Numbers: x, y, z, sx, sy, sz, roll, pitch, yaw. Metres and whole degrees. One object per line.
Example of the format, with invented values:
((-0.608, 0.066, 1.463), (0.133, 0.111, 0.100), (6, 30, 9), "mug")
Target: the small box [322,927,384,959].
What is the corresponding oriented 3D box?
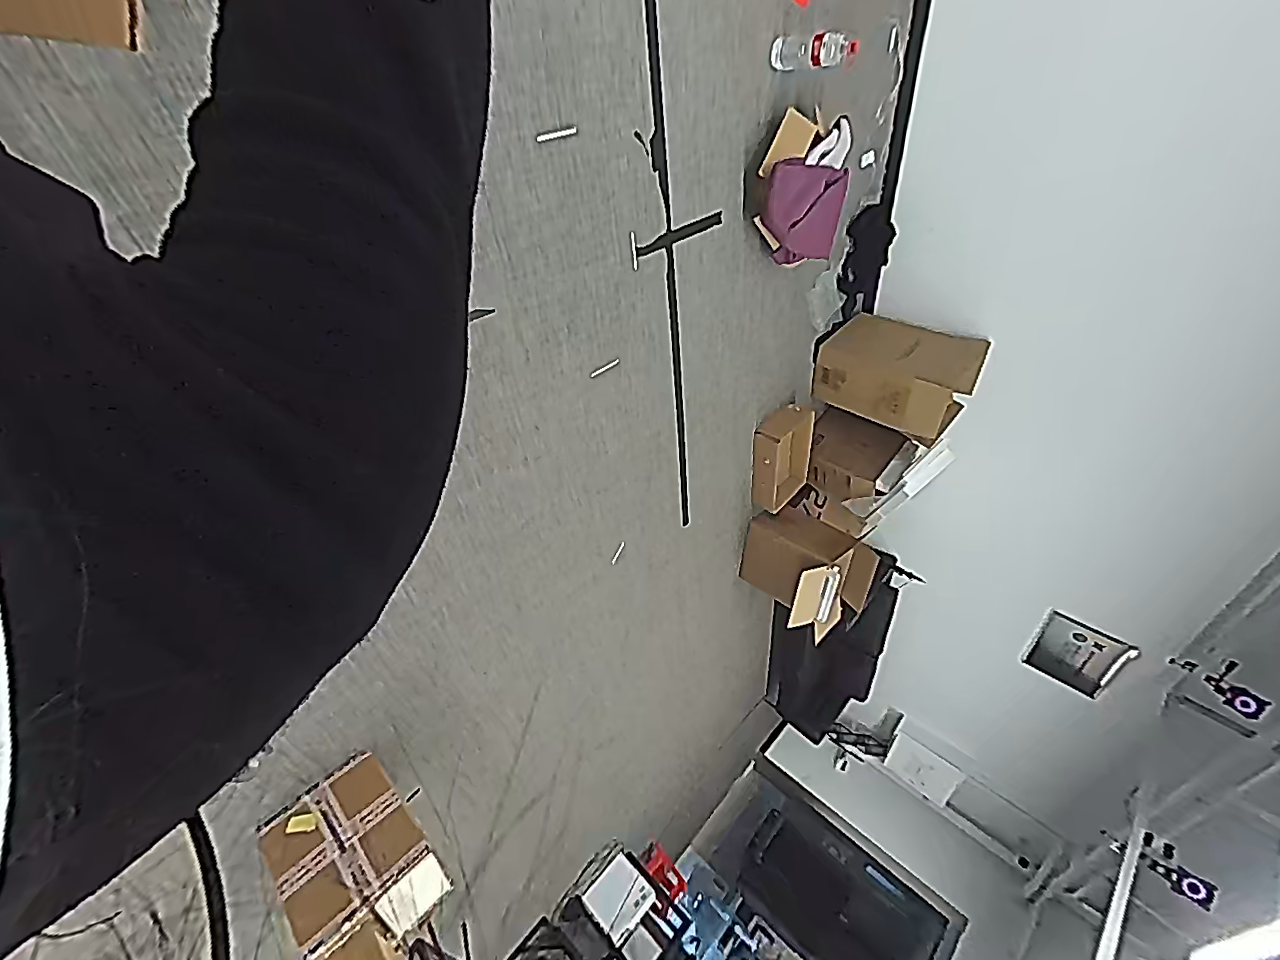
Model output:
((-0.873, 1.514, 1.625), (0.179, 0.176, 0.168), (-34, 136, -33), "small box")
